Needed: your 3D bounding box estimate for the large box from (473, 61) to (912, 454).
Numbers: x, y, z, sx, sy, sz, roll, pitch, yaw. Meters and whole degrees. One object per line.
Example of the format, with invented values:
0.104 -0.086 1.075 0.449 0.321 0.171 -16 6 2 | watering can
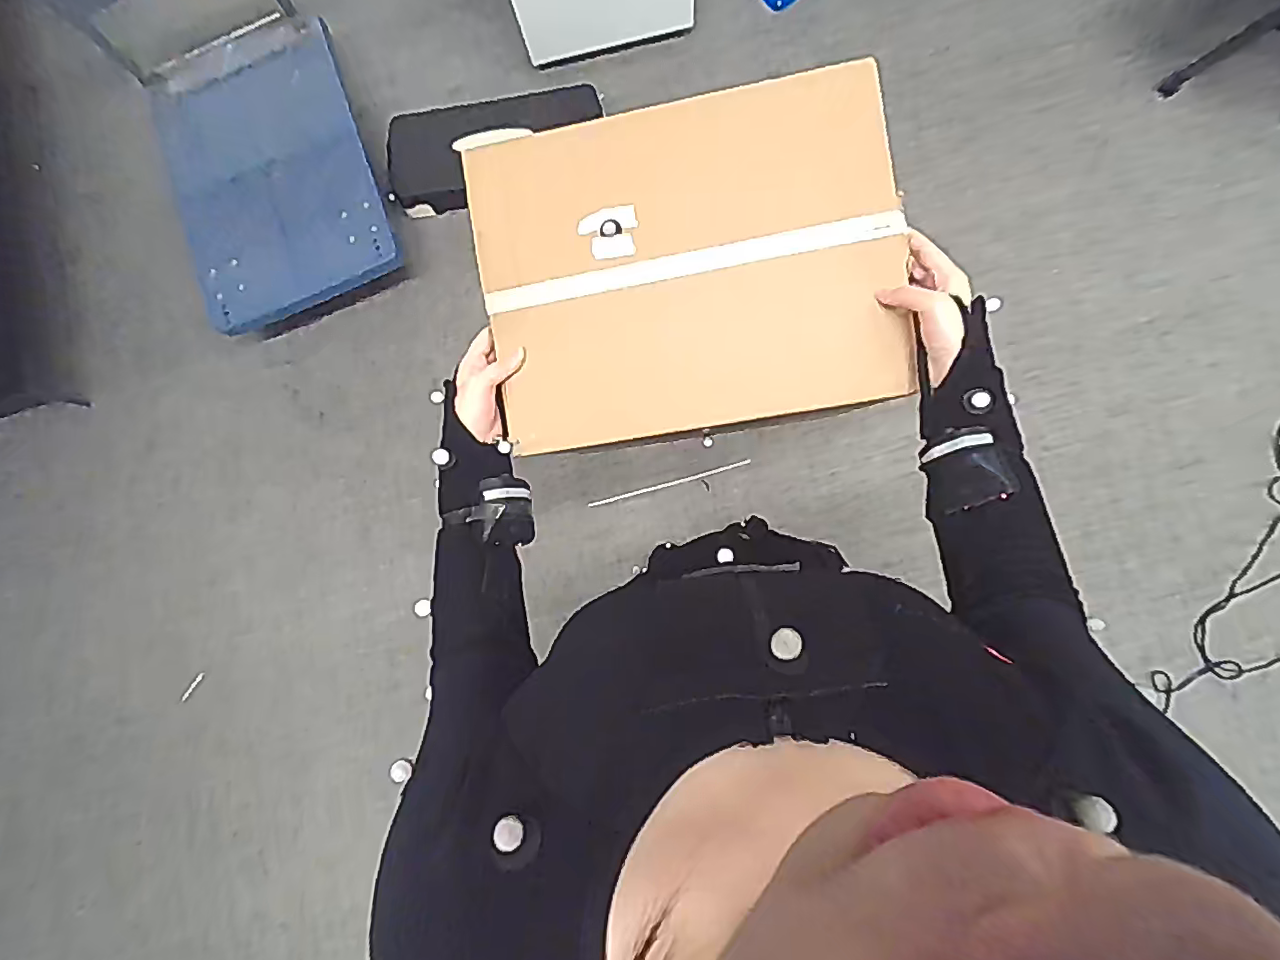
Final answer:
0.064 -0.221 0.686 0.408 0.320 0.320 -9 92 8 | large box
